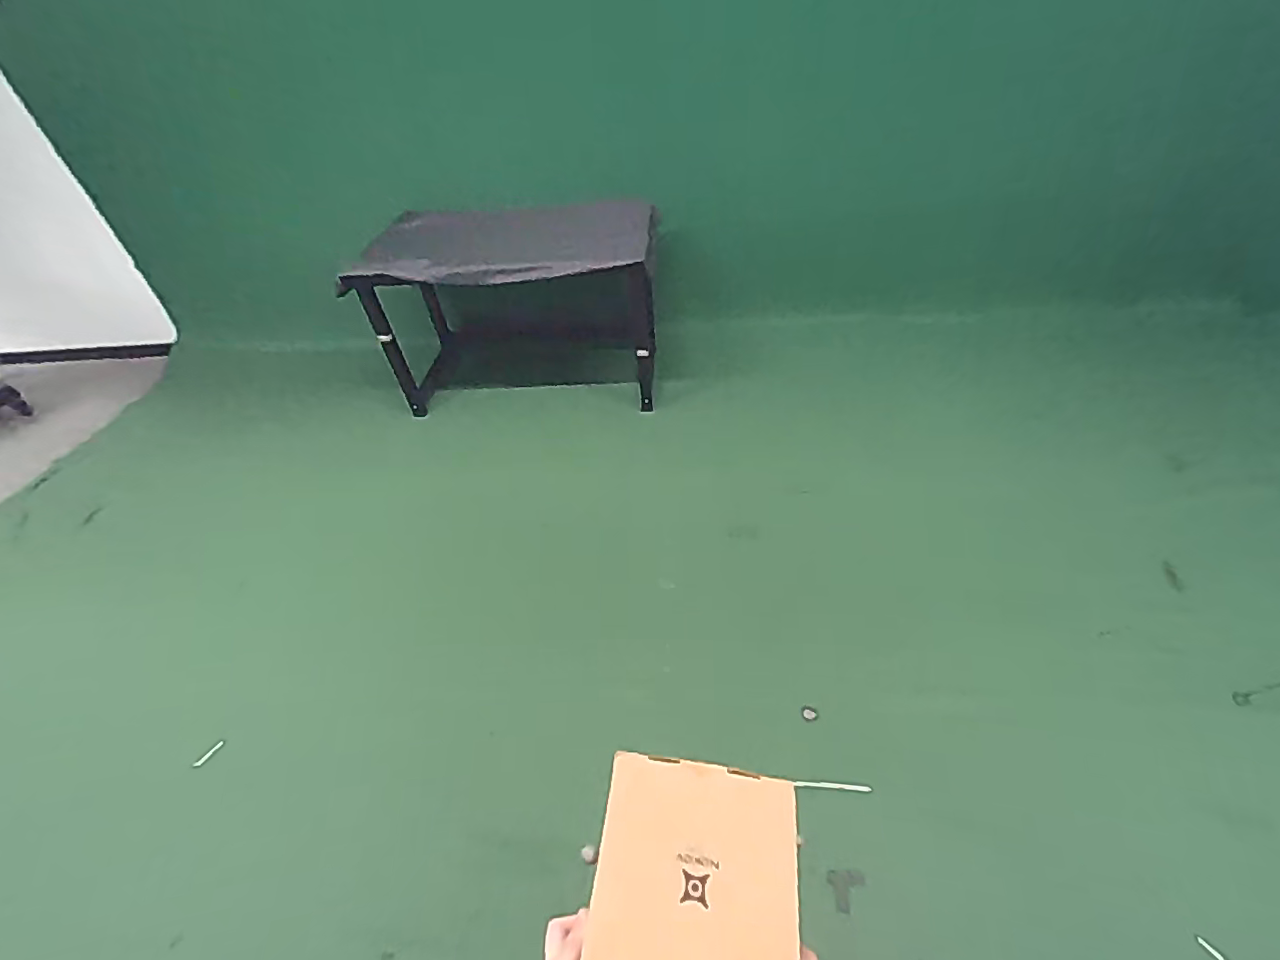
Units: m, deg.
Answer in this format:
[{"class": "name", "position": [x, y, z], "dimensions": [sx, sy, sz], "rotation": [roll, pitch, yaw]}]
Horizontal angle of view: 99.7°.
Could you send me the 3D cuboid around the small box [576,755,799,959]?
[{"class": "small box", "position": [0.042, 0.379, 0.486], "dimensions": [0.168, 0.176, 0.179], "rotation": [8, 47, 6]}]
